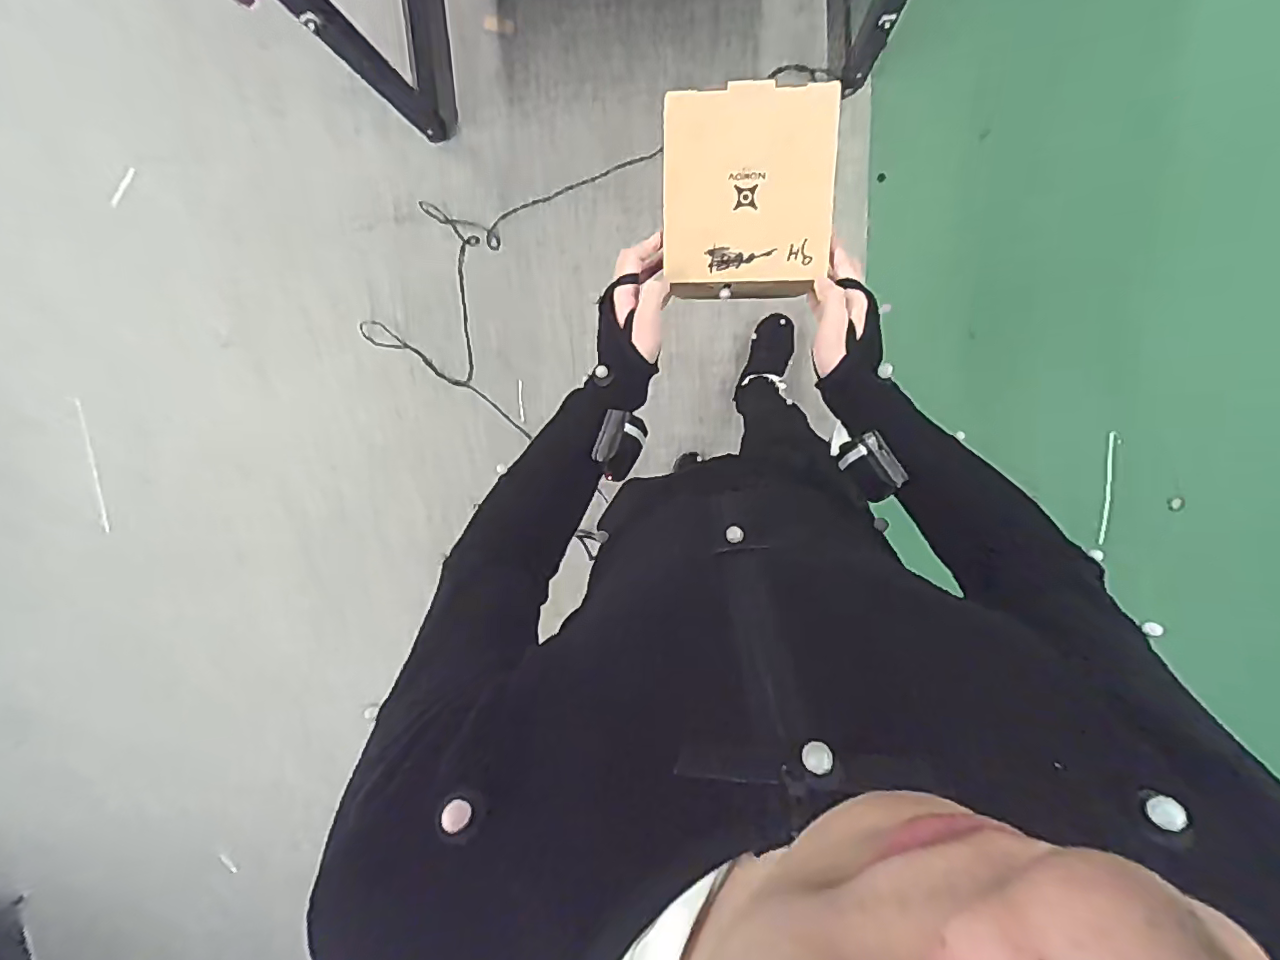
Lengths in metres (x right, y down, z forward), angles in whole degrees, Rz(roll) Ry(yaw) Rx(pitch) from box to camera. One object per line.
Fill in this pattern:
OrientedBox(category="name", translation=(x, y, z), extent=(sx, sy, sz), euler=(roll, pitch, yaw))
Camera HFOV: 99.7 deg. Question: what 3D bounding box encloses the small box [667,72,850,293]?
OrientedBox(category="small box", translation=(0.117, -0.306, 0.593), extent=(0.168, 0.176, 0.179), euler=(2, 104, 7))
